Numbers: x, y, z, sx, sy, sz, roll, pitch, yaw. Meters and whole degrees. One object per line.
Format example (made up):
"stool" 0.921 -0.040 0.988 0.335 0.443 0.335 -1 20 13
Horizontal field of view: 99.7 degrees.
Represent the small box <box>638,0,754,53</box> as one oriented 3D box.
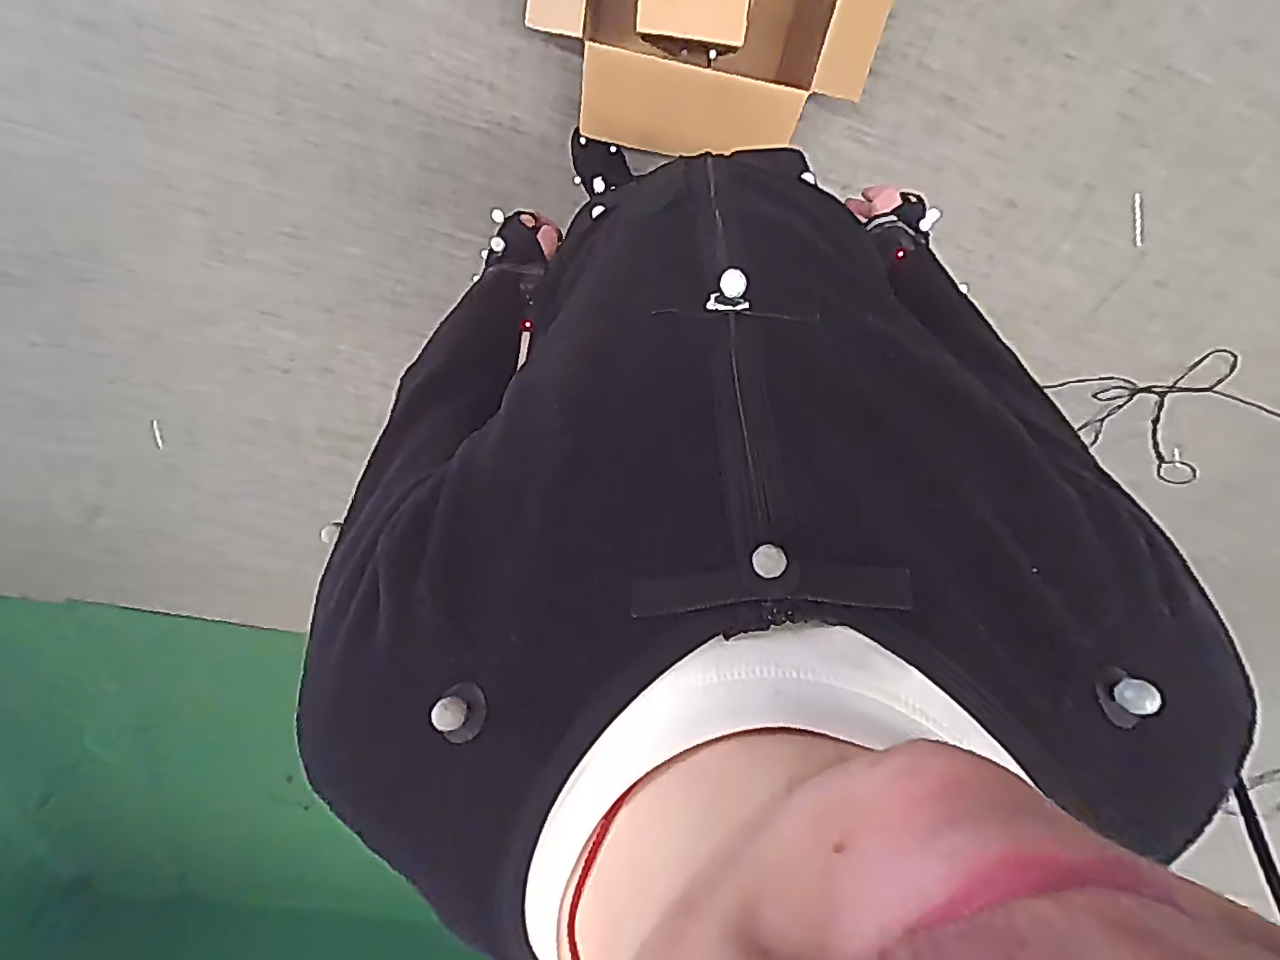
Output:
"small box" 0.098 -0.818 0.882 0.179 0.176 0.168 8 123 0
